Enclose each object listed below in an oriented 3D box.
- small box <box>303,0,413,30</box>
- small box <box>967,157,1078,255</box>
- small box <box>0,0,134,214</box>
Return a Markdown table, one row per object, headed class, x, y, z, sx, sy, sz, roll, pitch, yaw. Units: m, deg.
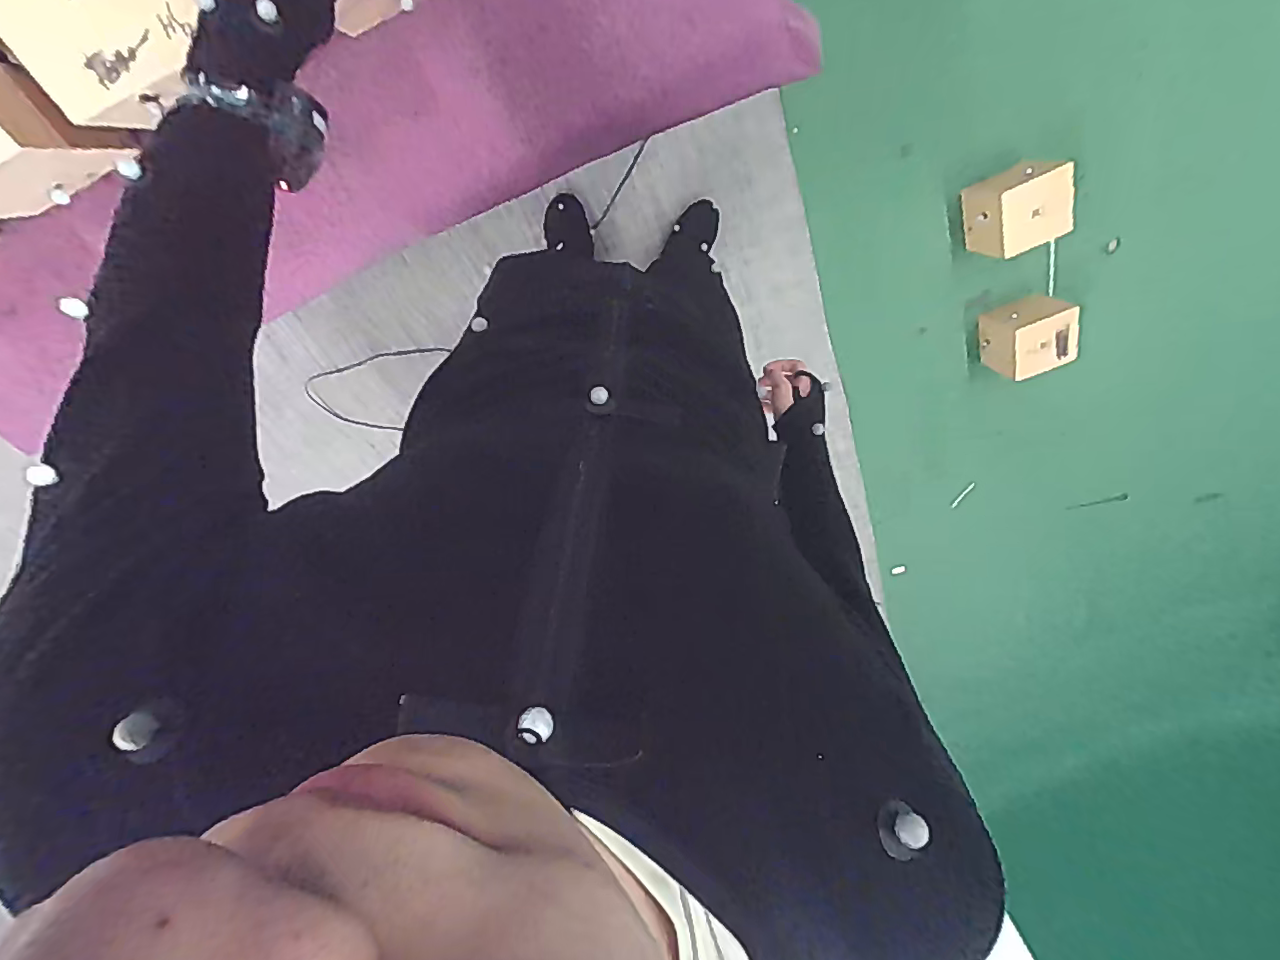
| class | x | y | z | sx | sy | sz | roll | pitch | yaw |
| --- | --- | --- | --- | --- | --- | --- | --- | --- | --- |
| small box | -0.278 | -0.549 | 0.479 | 0.168 | 0.176 | 0.179 | -22 | 121 | 8 |
| small box | 0.966 | -0.699 | 1.379 | 0.179 | 0.176 | 0.168 | -23 | 121 | 7 |
| small box | -0.688 | -0.379 | 0.536 | 0.168 | 0.176 | 0.179 | -23 | 122 | 8 |
